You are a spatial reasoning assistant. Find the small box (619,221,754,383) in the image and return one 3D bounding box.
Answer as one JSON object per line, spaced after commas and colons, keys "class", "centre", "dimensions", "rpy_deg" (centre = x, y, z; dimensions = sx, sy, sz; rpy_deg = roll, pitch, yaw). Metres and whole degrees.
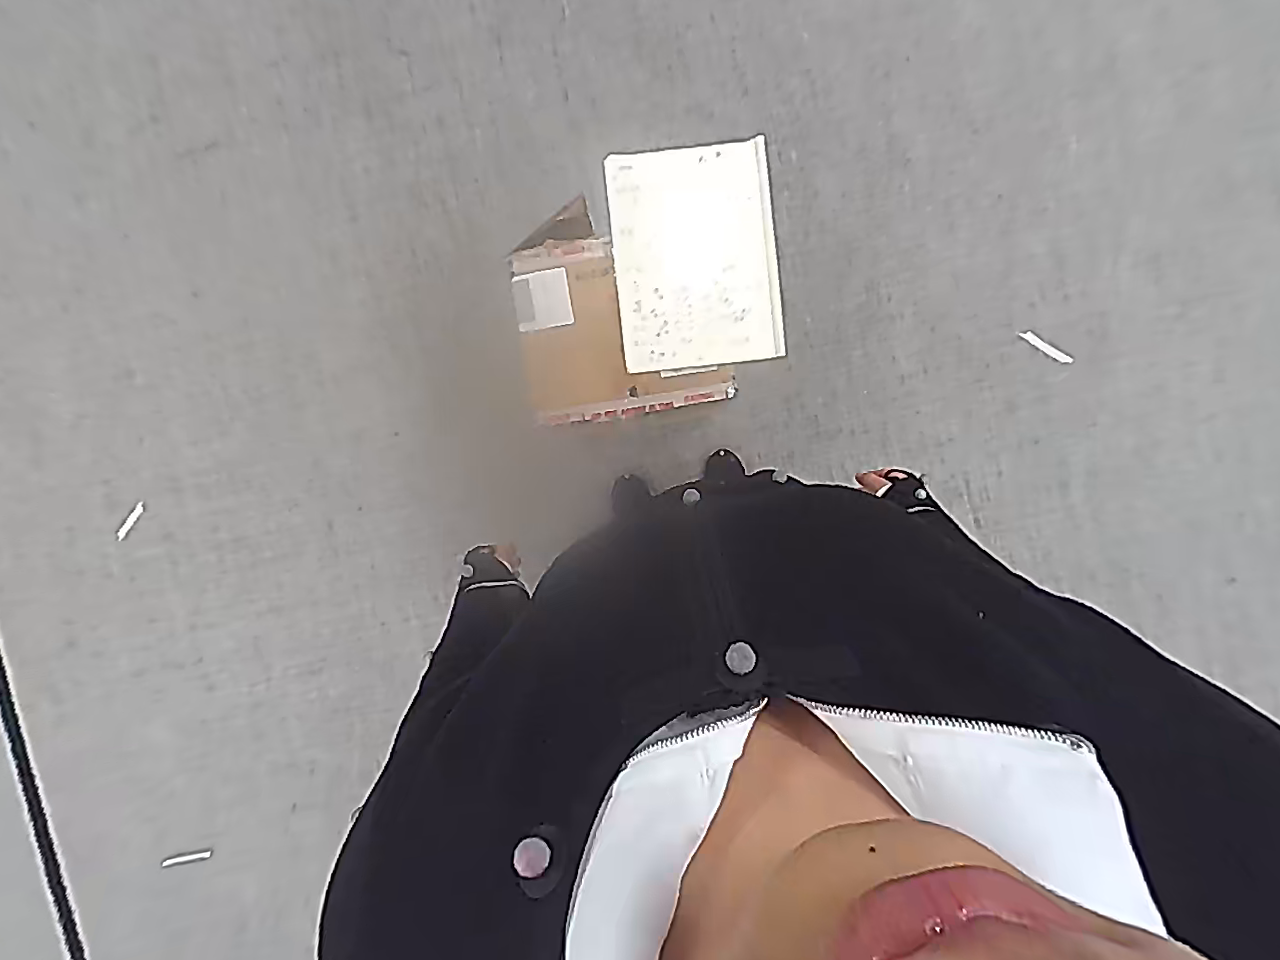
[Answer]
{"class": "small box", "centre": [0.058, -0.242, 0.774], "dimensions": [0.168, 0.176, 0.179], "rpy_deg": [-6, 94, 0]}
